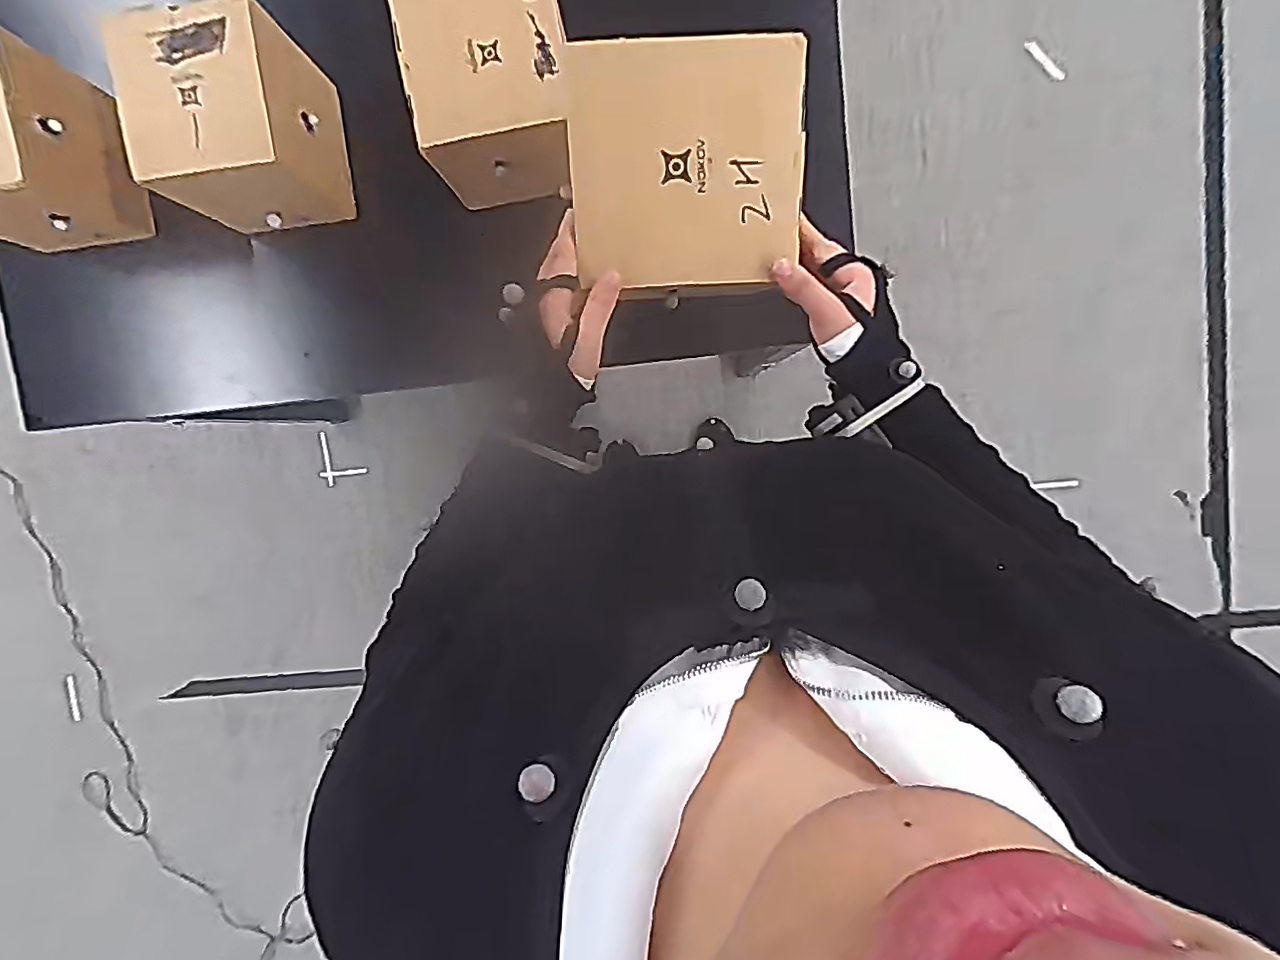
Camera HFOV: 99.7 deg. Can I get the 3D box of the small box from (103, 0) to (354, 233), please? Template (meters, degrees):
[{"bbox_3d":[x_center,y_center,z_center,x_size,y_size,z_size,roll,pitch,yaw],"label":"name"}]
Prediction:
[{"bbox_3d":[-0.485,-0.431,0.666,0.168,0.176,0.179,-7,96,2],"label":"small box"}]

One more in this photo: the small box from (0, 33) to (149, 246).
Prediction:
[{"bbox_3d":[-0.771,-0.409,0.675,0.168,0.176,0.179,-8,94,1],"label":"small box"}]

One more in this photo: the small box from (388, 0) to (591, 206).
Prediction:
[{"bbox_3d":[-0.168,-0.459,0.657,0.179,0.176,0.168,-10,95,3],"label":"small box"}]
